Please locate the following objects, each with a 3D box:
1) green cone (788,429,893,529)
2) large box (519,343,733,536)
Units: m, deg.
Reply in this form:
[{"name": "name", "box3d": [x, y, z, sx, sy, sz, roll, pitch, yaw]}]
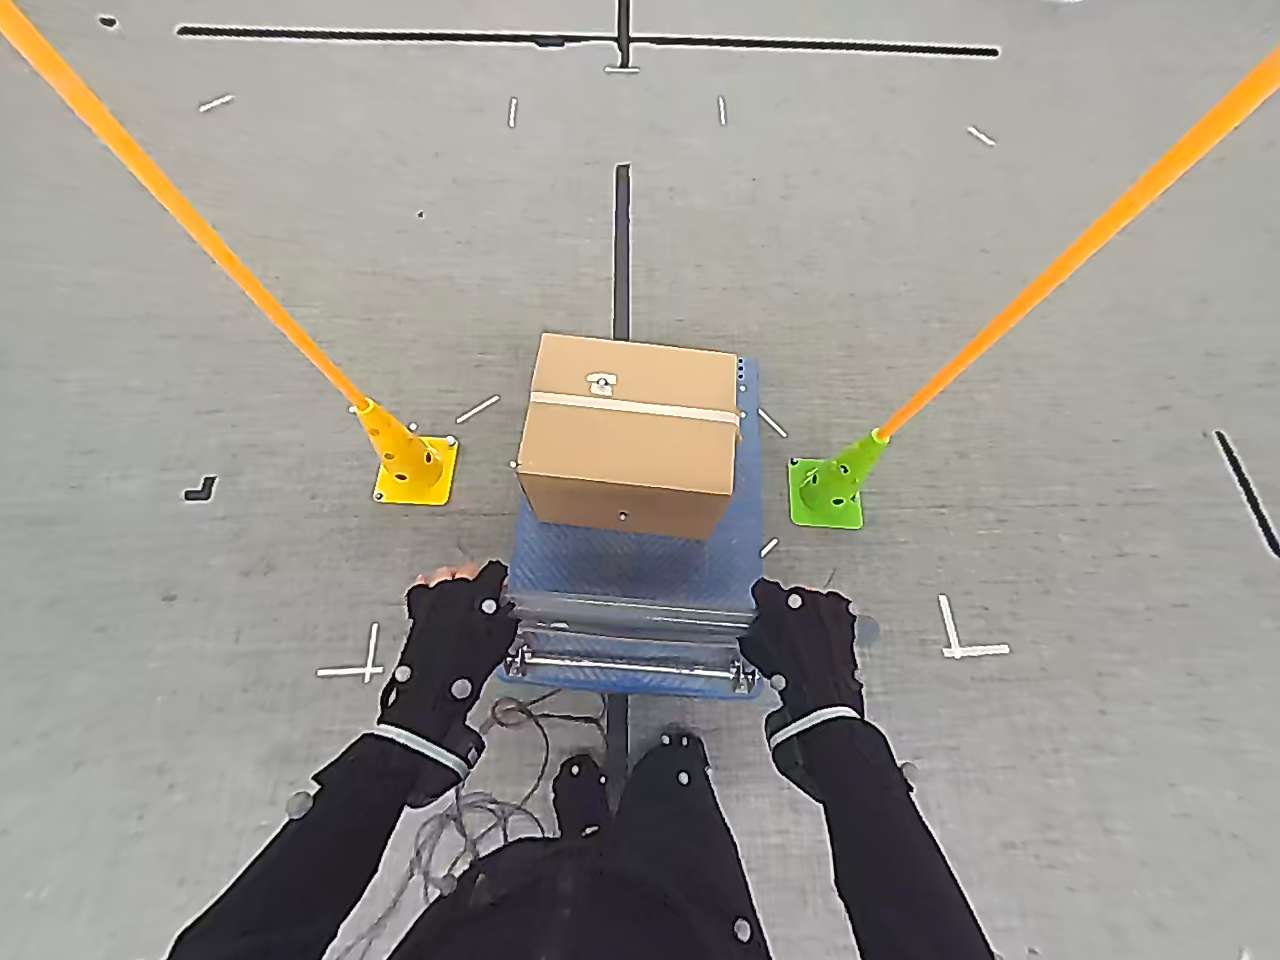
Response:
[{"name": "green cone", "box3d": [0.528, -0.026, 1.364, 0.202, 0.368, 0.200, 4, 68, -2]}, {"name": "large box", "box3d": [-0.020, -0.073, 1.204, 0.408, 0.320, 0.320, 6, 68, 1]}]
